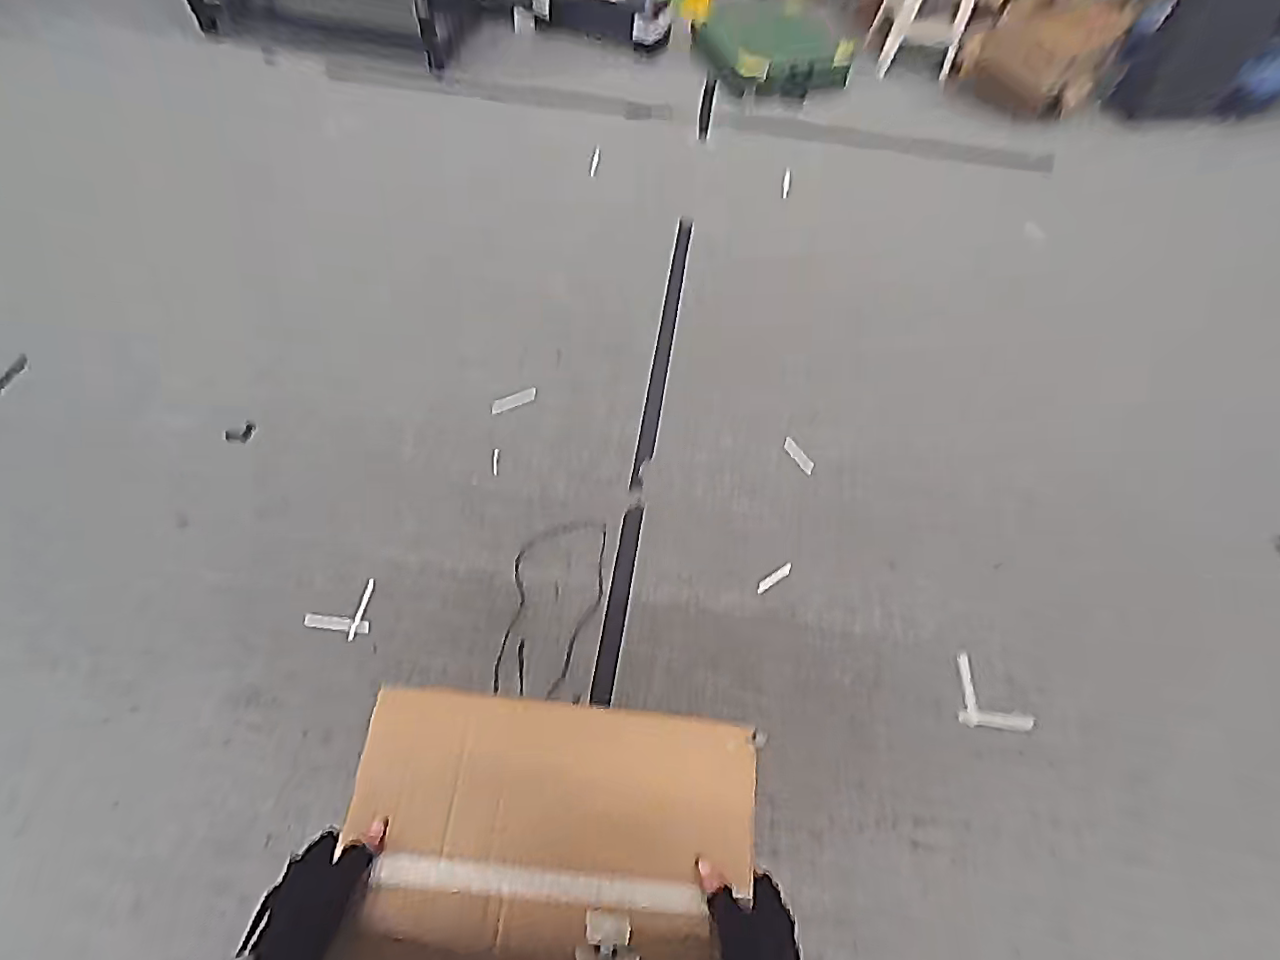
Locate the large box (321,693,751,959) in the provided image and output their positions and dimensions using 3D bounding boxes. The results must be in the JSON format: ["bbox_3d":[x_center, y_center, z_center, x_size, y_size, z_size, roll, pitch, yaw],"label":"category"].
[{"bbox_3d":[-0.100,0.448,0.662,0.408,0.320,0.320,7,67,-2],"label":"large box"}]
